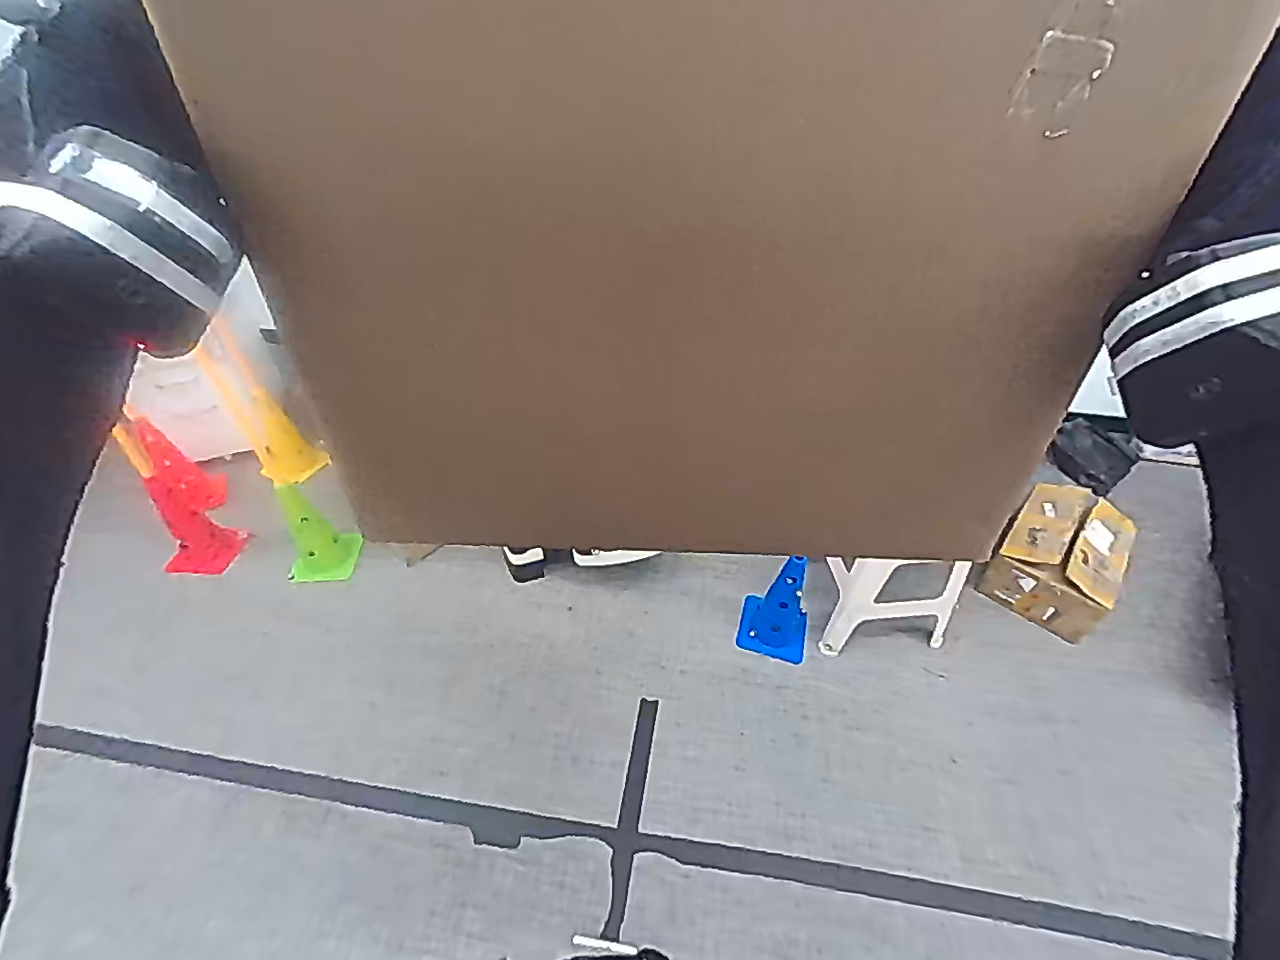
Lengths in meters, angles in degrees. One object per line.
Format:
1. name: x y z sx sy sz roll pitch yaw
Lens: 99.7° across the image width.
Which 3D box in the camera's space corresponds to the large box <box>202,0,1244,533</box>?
1. large box: 0.028 -0.176 0.387 0.408 0.320 0.320 2 37 1
